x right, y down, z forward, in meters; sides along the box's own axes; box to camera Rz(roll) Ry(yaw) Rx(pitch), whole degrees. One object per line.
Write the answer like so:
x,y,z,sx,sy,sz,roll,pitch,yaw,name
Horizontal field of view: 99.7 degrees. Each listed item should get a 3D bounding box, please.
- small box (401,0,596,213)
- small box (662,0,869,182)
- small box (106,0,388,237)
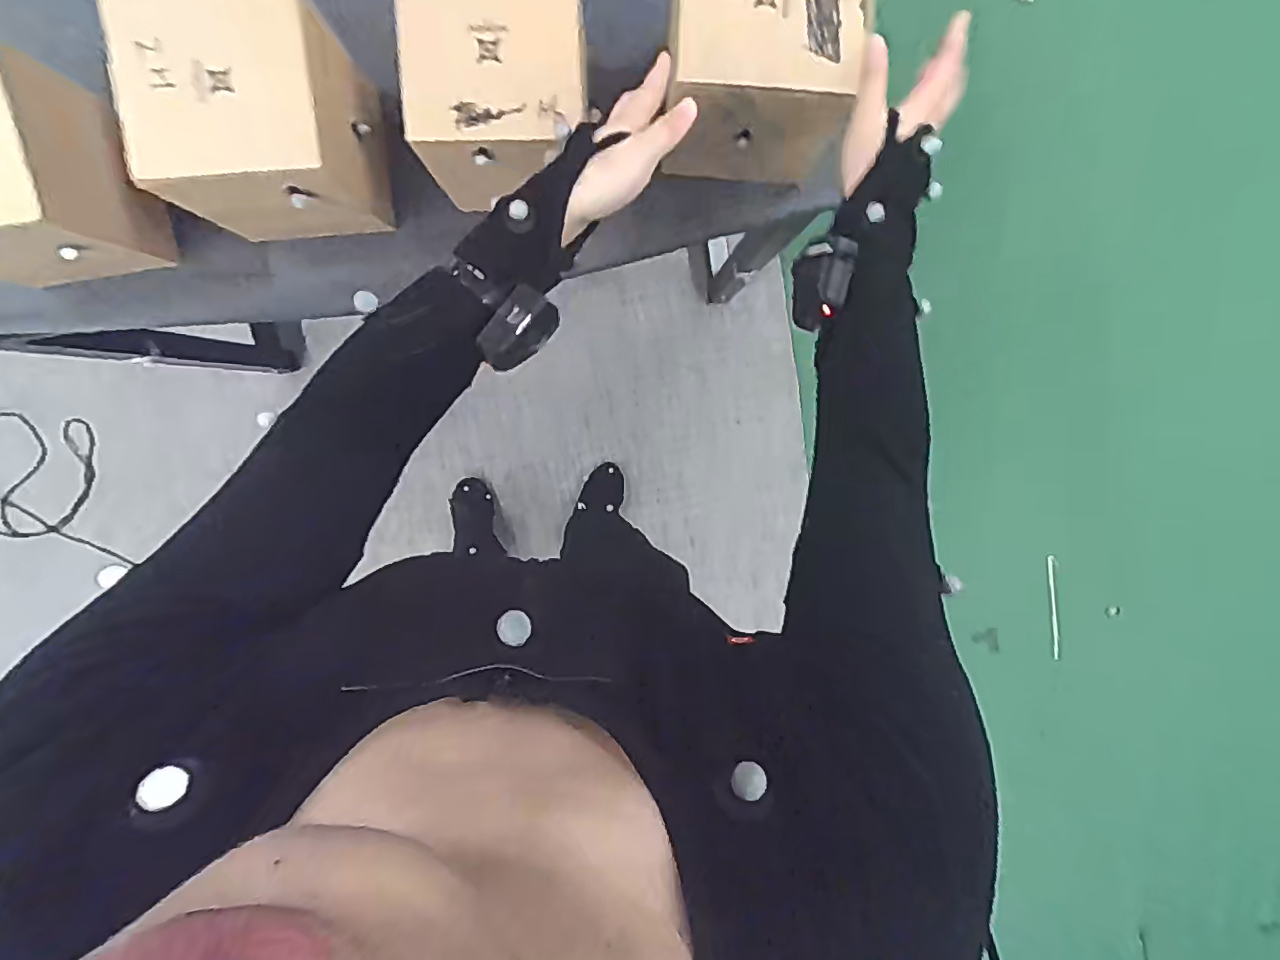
-0.137,-0.409,0.574,0.168,0.176,0.179,-1,95,0,small box
0.121,-0.442,0.575,0.179,0.176,0.168,3,92,-2,small box
-0.387,-0.371,0.571,0.179,0.176,0.168,-4,96,-1,small box
